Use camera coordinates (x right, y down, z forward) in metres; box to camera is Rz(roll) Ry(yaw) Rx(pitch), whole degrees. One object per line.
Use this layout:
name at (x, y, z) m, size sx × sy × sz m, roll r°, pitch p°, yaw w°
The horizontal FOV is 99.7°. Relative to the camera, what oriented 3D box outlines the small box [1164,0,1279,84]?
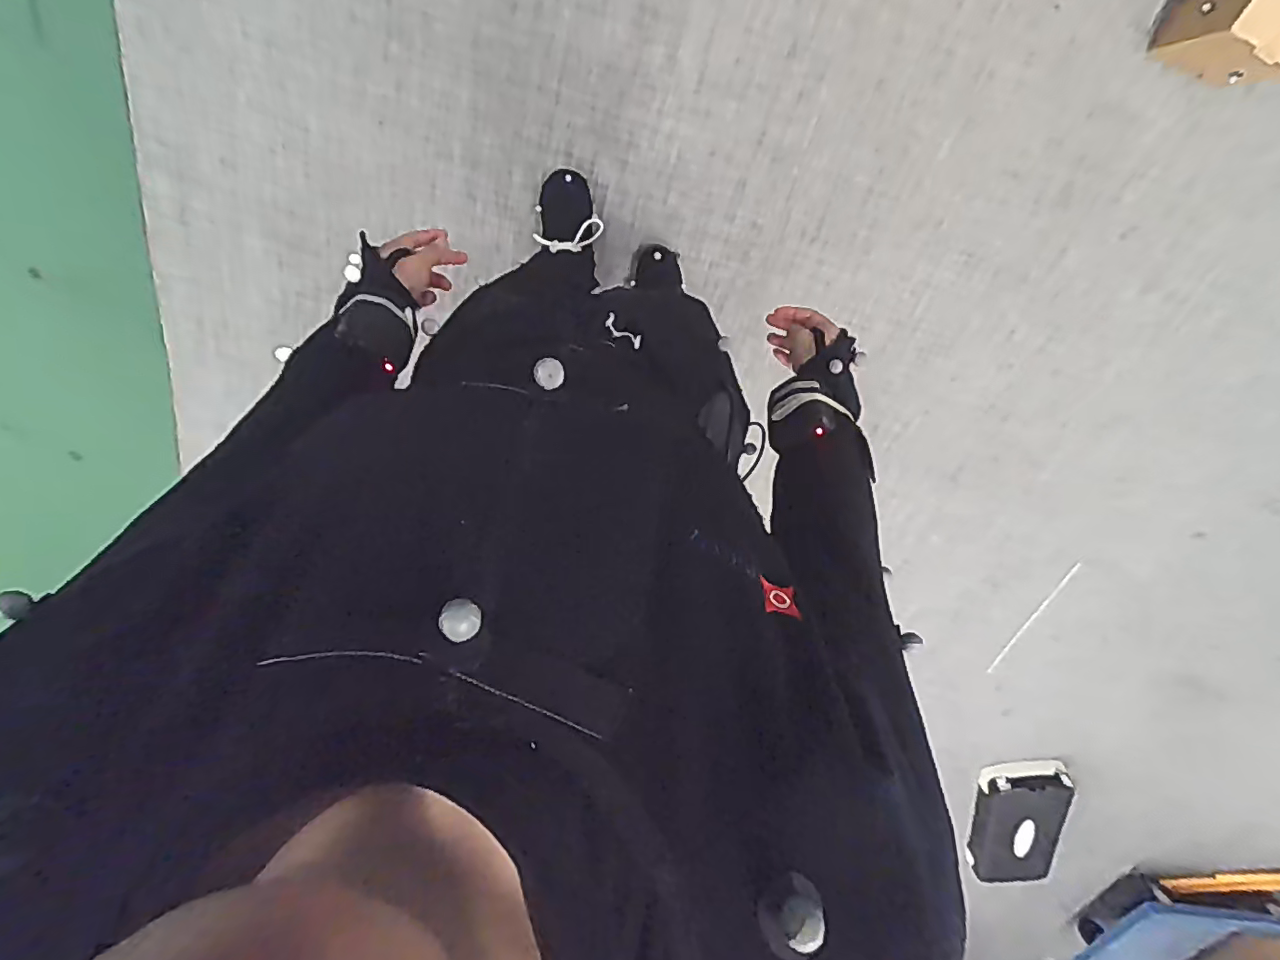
small box at (1.045, -0.797, 0.898) m, size 0.168 × 0.176 × 0.179 m, roll 20°, pitch 117°, yaw -11°
